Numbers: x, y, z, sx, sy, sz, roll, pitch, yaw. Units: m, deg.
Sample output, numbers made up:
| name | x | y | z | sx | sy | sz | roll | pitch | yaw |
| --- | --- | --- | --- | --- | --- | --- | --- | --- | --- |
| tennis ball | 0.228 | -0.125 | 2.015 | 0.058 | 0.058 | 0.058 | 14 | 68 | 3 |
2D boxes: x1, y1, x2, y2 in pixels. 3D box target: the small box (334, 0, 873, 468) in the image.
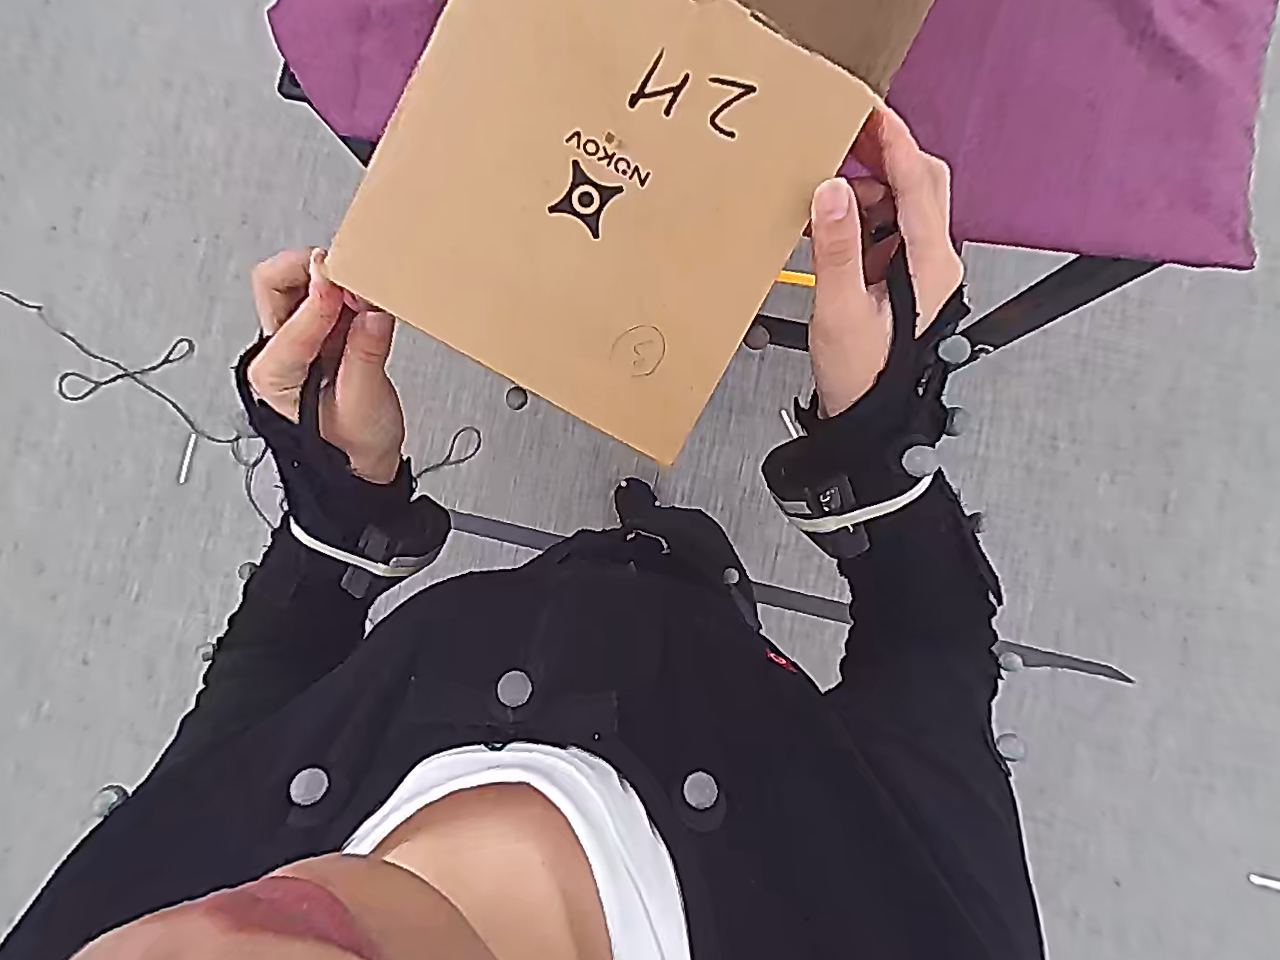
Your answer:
| name | x | y | z | sx | sy | sz | roll | pitch | yaw |
| --- | --- | --- | --- | --- | --- | --- | --- | --- | --- |
| small box | -0.017 | -0.125 | 0.299 | 0.168 | 0.176 | 0.179 | 29 | 94 | -4 |
